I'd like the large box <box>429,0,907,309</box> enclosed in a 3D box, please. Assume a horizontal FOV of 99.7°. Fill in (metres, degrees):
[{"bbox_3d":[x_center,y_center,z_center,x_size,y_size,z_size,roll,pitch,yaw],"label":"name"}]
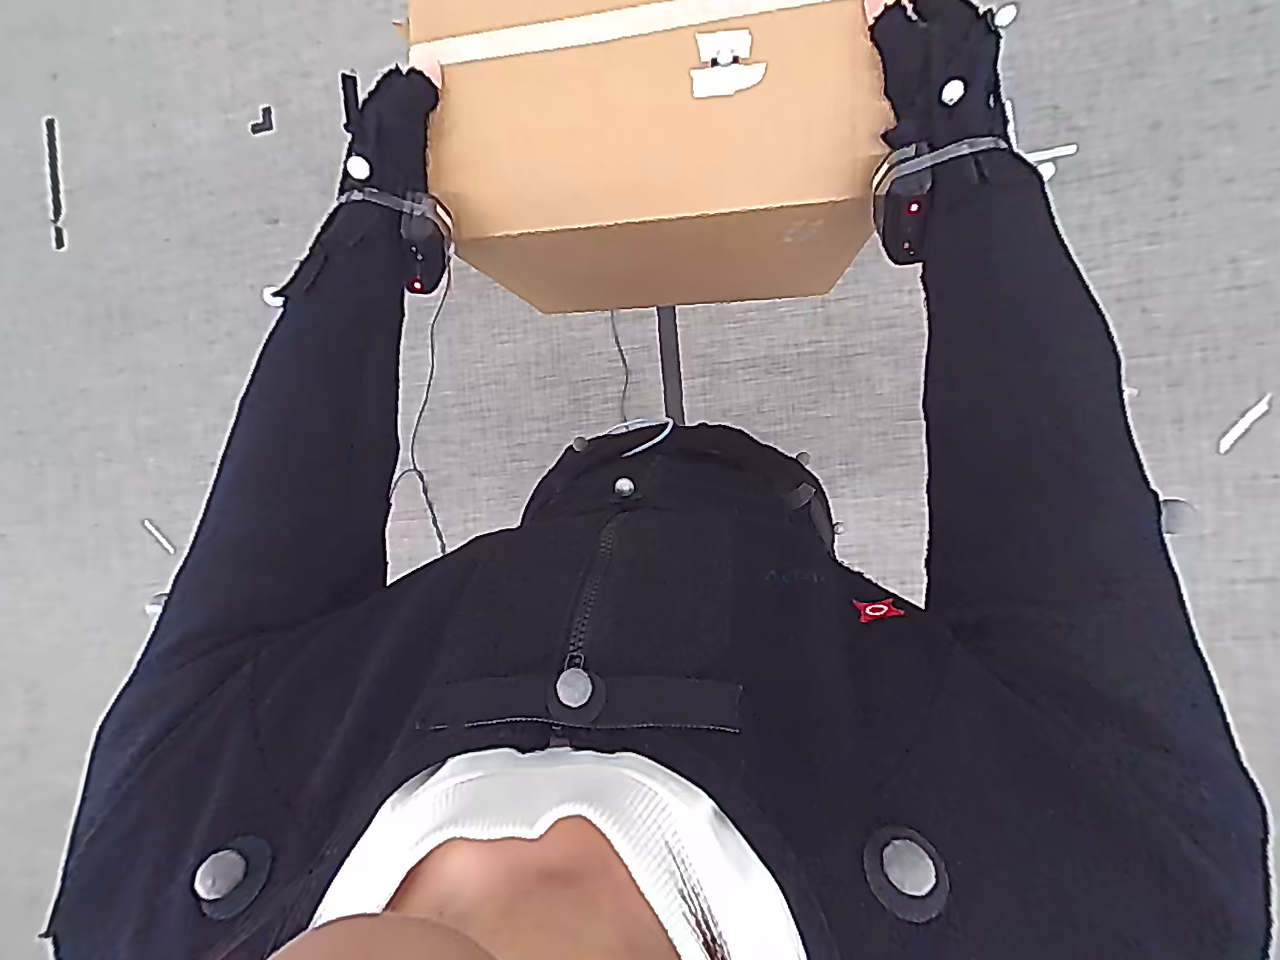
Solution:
[{"bbox_3d":[0.030,-0.395,0.600,0.408,0.320,0.320,-2,95,8],"label":"large box"}]
